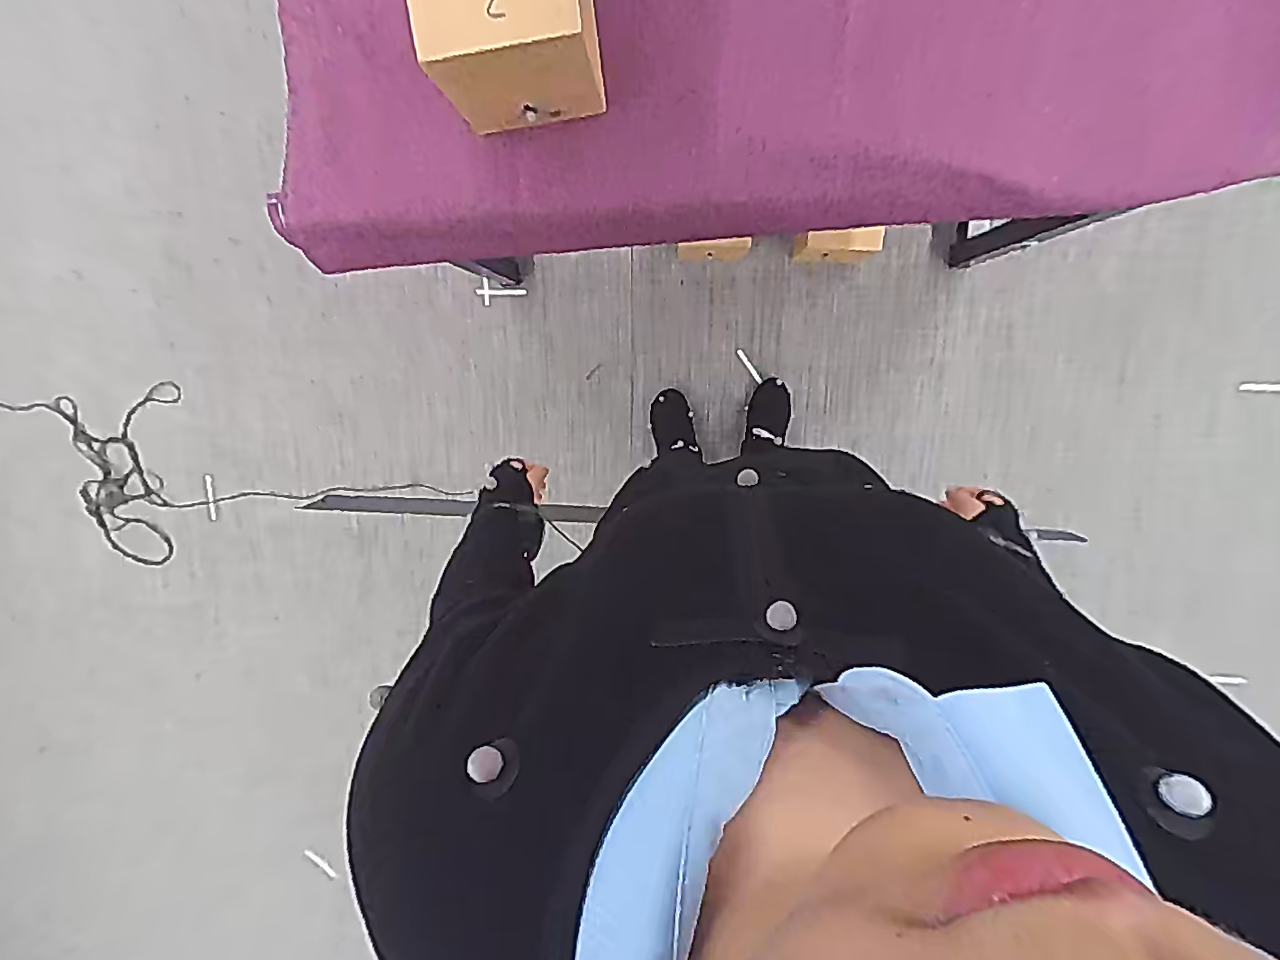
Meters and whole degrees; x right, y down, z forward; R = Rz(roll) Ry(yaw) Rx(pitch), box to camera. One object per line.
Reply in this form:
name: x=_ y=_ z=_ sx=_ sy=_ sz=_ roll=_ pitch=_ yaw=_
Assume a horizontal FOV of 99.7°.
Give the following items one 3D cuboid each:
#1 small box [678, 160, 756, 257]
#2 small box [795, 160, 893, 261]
small box: x=0.177 y=-0.633 z=1.278 sx=0.168 sy=0.176 sz=0.179 roll=2 pitch=102 yaw=4
small box: x=0.465 y=-0.619 z=1.262 sx=0.168 sy=0.176 sz=0.179 roll=4 pitch=102 yaw=4
